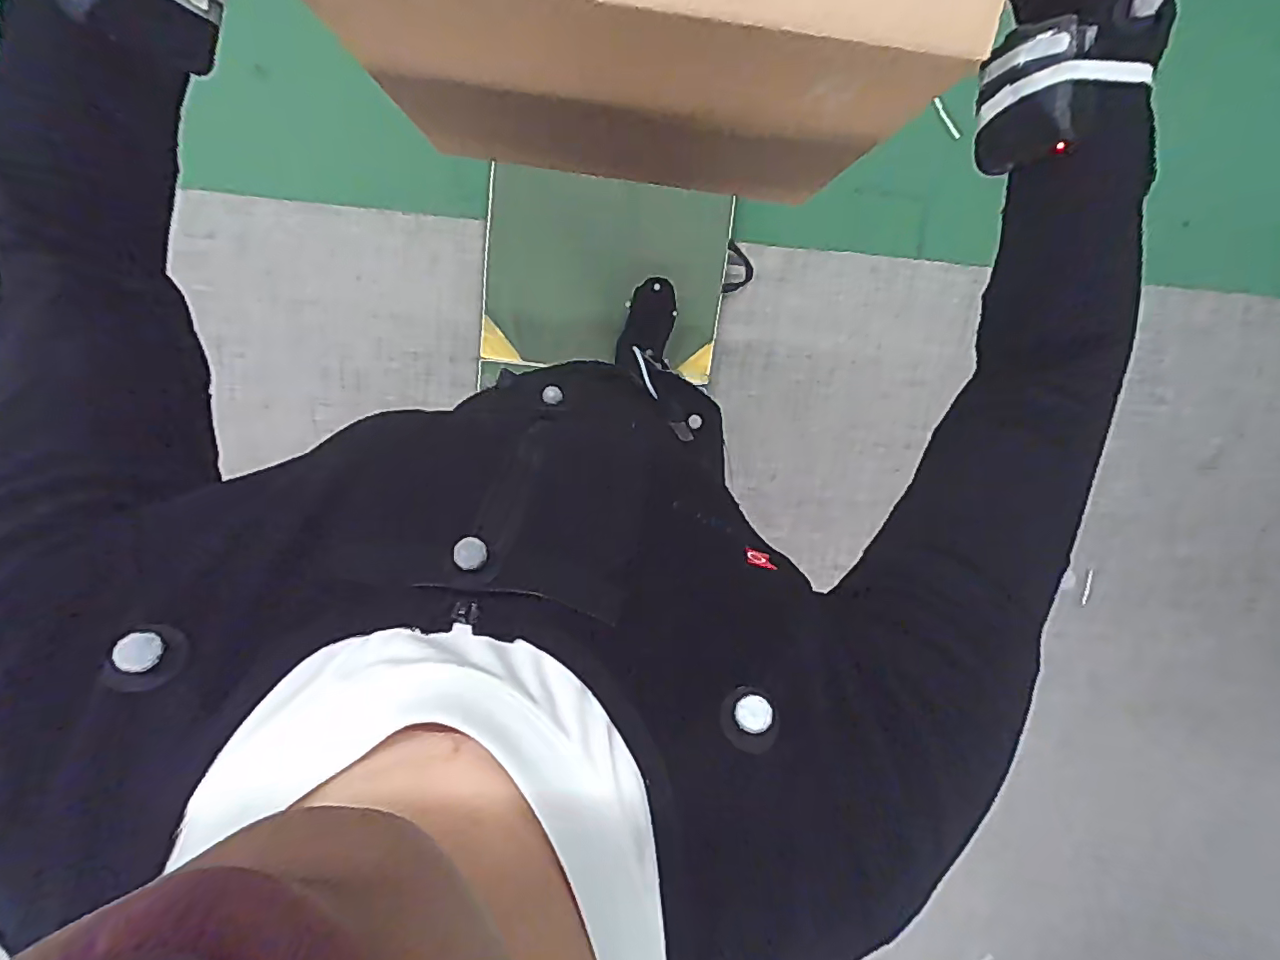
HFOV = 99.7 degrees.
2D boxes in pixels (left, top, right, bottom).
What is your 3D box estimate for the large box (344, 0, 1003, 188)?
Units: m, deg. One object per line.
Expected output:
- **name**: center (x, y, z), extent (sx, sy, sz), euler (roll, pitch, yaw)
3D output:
- **large box**: center (0.013, -0.451, 0.410), extent (0.408, 0.320, 0.320), euler (5, 104, -5)
